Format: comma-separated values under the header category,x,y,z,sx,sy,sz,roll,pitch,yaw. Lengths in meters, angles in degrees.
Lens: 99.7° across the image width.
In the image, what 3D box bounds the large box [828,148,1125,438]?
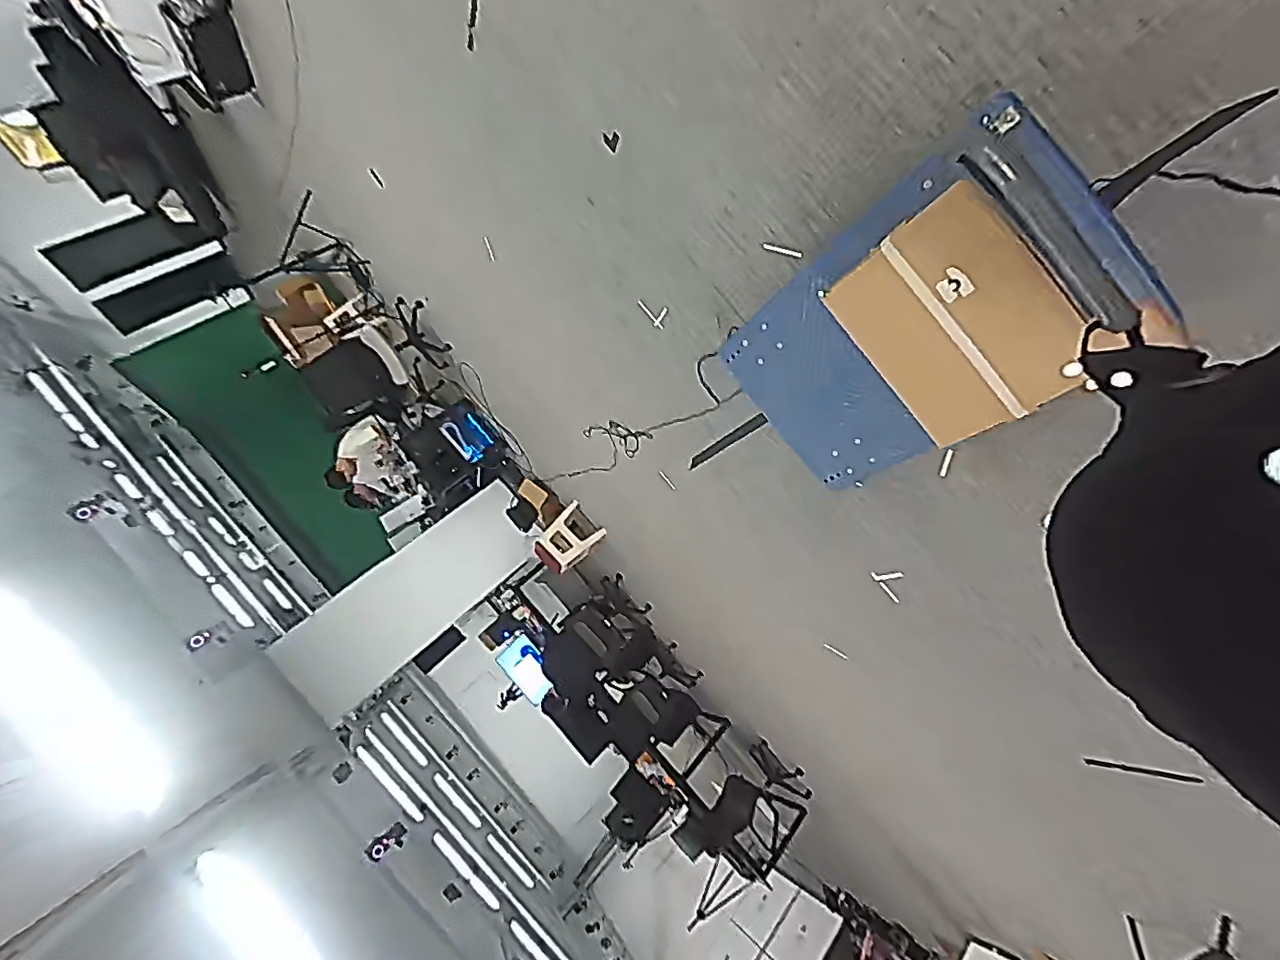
category,x,y,z,sx,sy,sz,roll,pitch,yaw
large box,0.670,-0.367,1.079,0.408,0.320,0.320,50,139,-2
